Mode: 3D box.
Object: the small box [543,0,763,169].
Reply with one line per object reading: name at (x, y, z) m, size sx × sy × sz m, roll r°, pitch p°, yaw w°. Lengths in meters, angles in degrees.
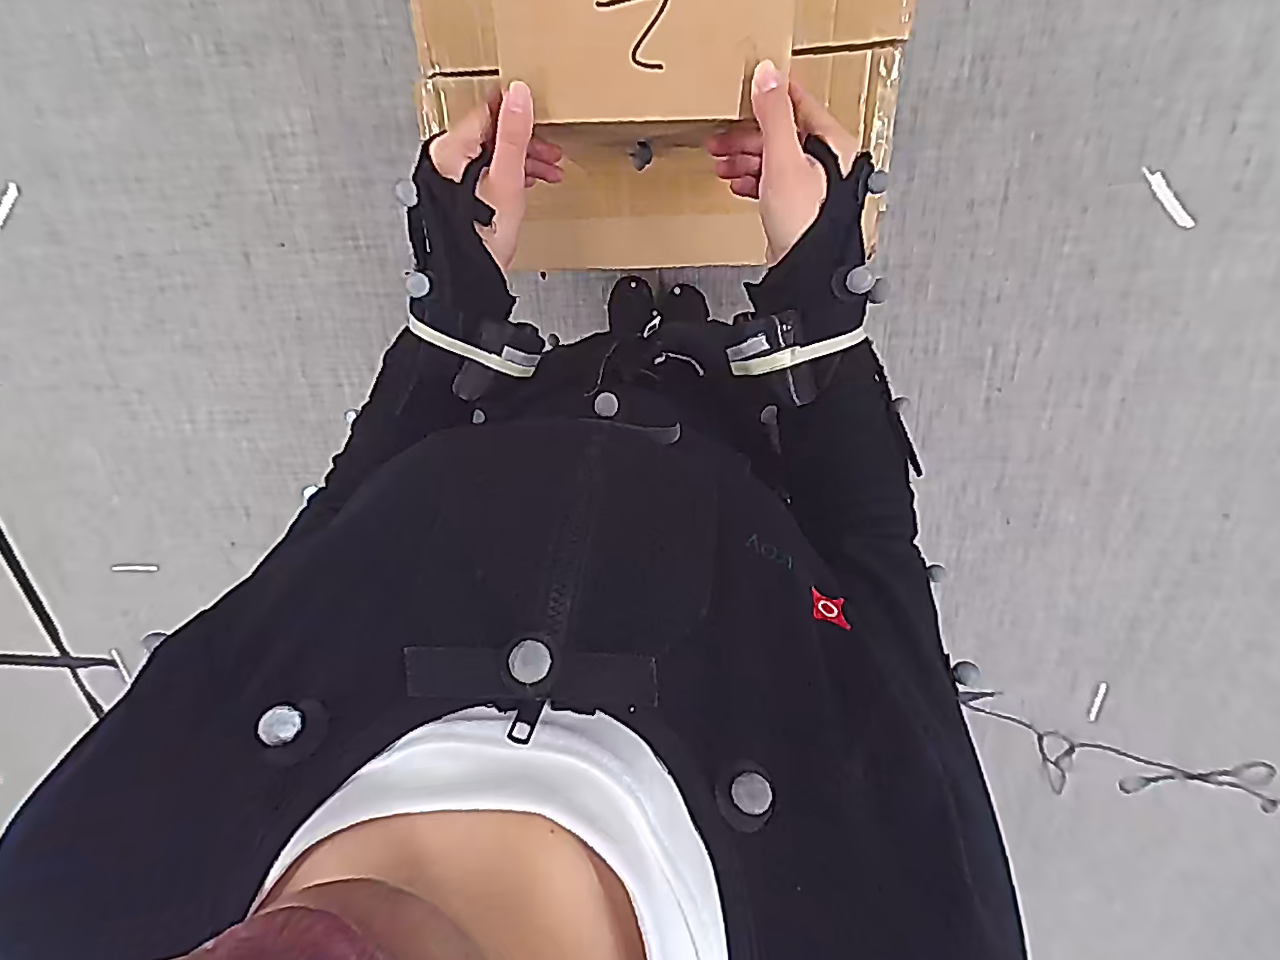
small box at (0.015, -0.395, 0.502) m, size 0.179 × 0.176 × 0.168 m, roll 1°, pitch 113°, yaw 4°
